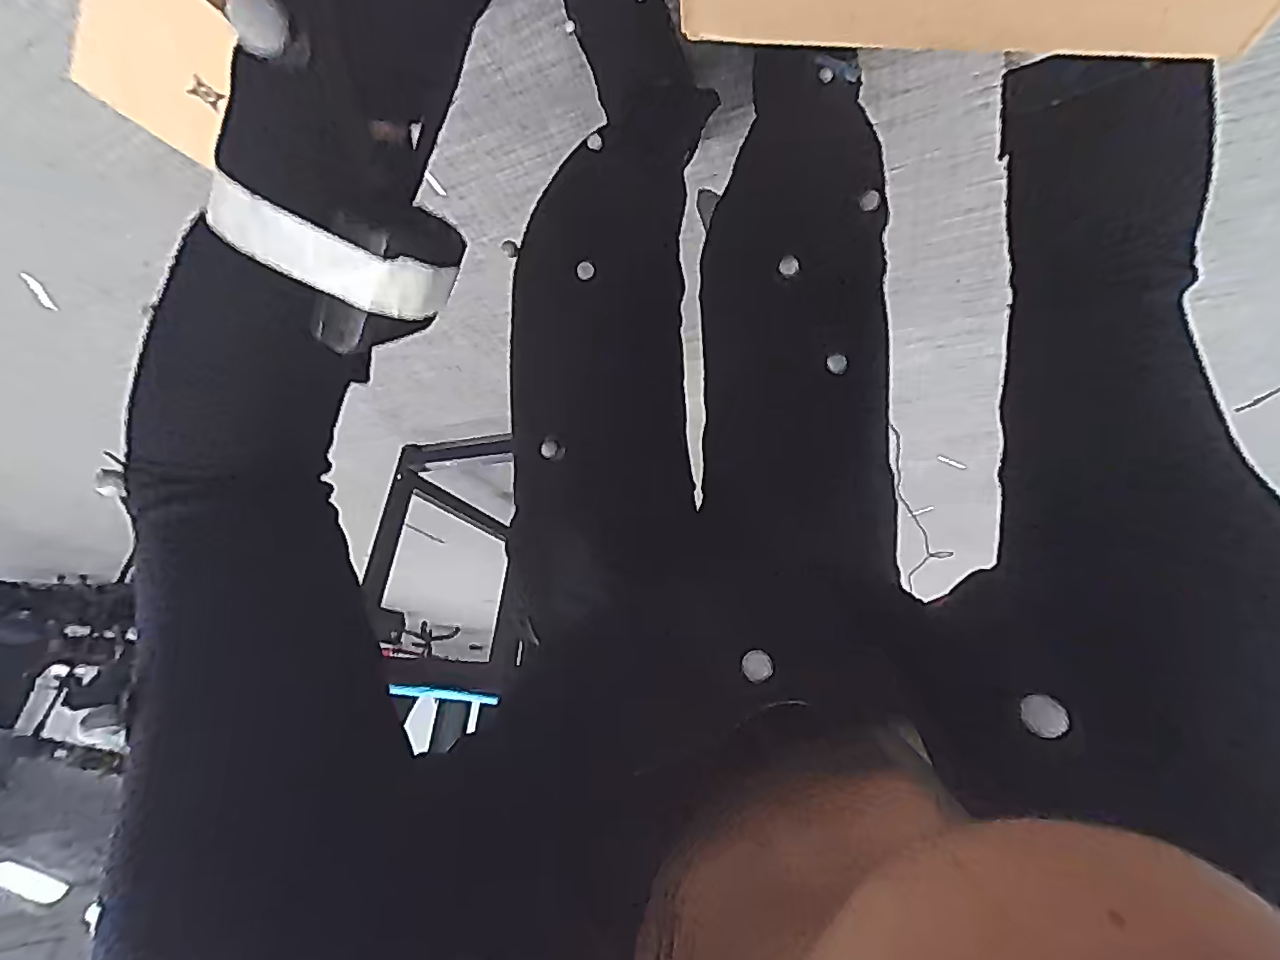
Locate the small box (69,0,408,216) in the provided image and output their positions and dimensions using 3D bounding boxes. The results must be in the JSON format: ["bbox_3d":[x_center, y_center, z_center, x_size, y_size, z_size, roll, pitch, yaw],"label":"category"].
[{"bbox_3d":[-0.343,-0.390,0.484,0.168,0.176,0.179,-11,154,36],"label":"small box"}]

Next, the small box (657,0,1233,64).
[{"bbox_3d":[0.101,-0.251,0.133,0.179,0.176,0.168,13,165,13],"label":"small box"}]
